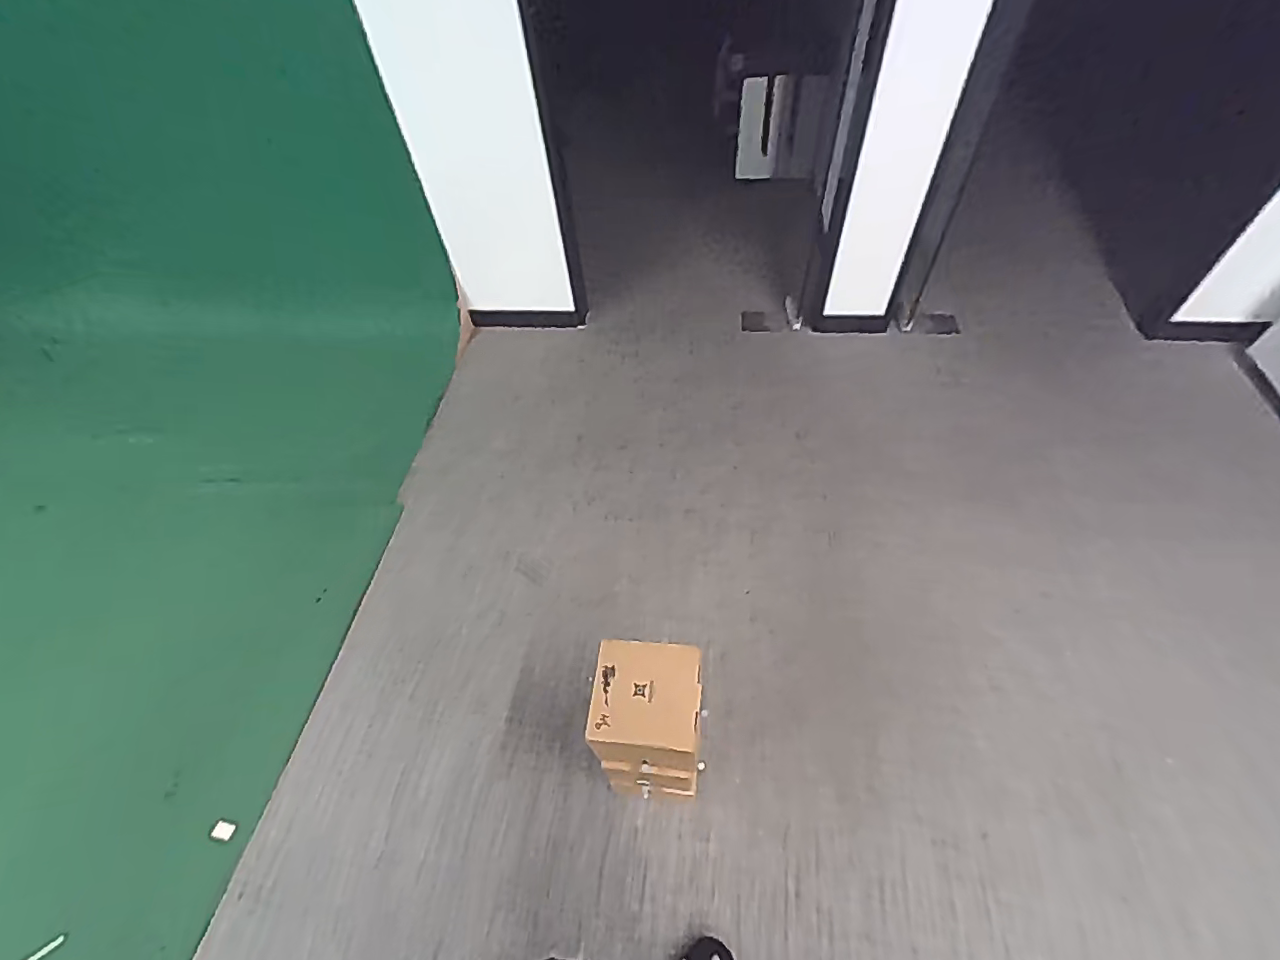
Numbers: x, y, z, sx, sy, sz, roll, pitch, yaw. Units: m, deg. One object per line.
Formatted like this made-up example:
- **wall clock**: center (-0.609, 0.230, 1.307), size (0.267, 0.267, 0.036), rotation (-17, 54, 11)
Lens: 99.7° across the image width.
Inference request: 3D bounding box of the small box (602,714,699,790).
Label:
- **small box**: center (0.030, 0.498, 1.074), size (0.168, 0.176, 0.179), rotation (2, 55, 10)

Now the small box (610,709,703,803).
- **small box**: center (0.043, 0.602, 1.197), size (0.179, 0.176, 0.168), rotation (5, 54, 9)

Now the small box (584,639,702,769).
- **small box**: center (0.015, 0.396, 0.947), size (0.179, 0.176, 0.168), rotation (3, 53, 9)
